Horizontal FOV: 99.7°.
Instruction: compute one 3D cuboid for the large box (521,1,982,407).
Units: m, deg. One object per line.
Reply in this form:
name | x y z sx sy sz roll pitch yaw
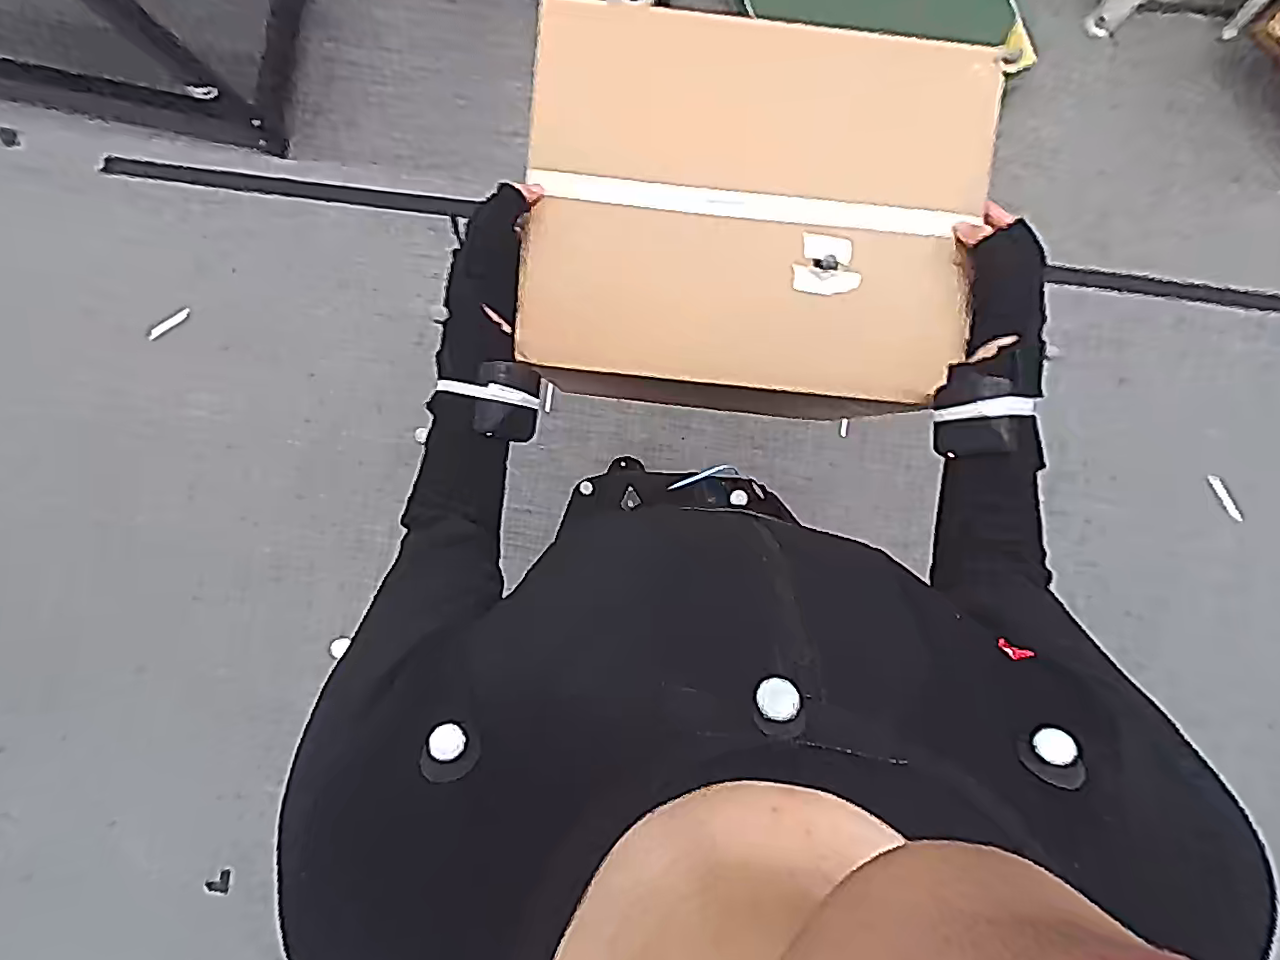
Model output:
large box | 0.093 -0.263 0.637 0.408 0.320 0.320 6 95 -2
